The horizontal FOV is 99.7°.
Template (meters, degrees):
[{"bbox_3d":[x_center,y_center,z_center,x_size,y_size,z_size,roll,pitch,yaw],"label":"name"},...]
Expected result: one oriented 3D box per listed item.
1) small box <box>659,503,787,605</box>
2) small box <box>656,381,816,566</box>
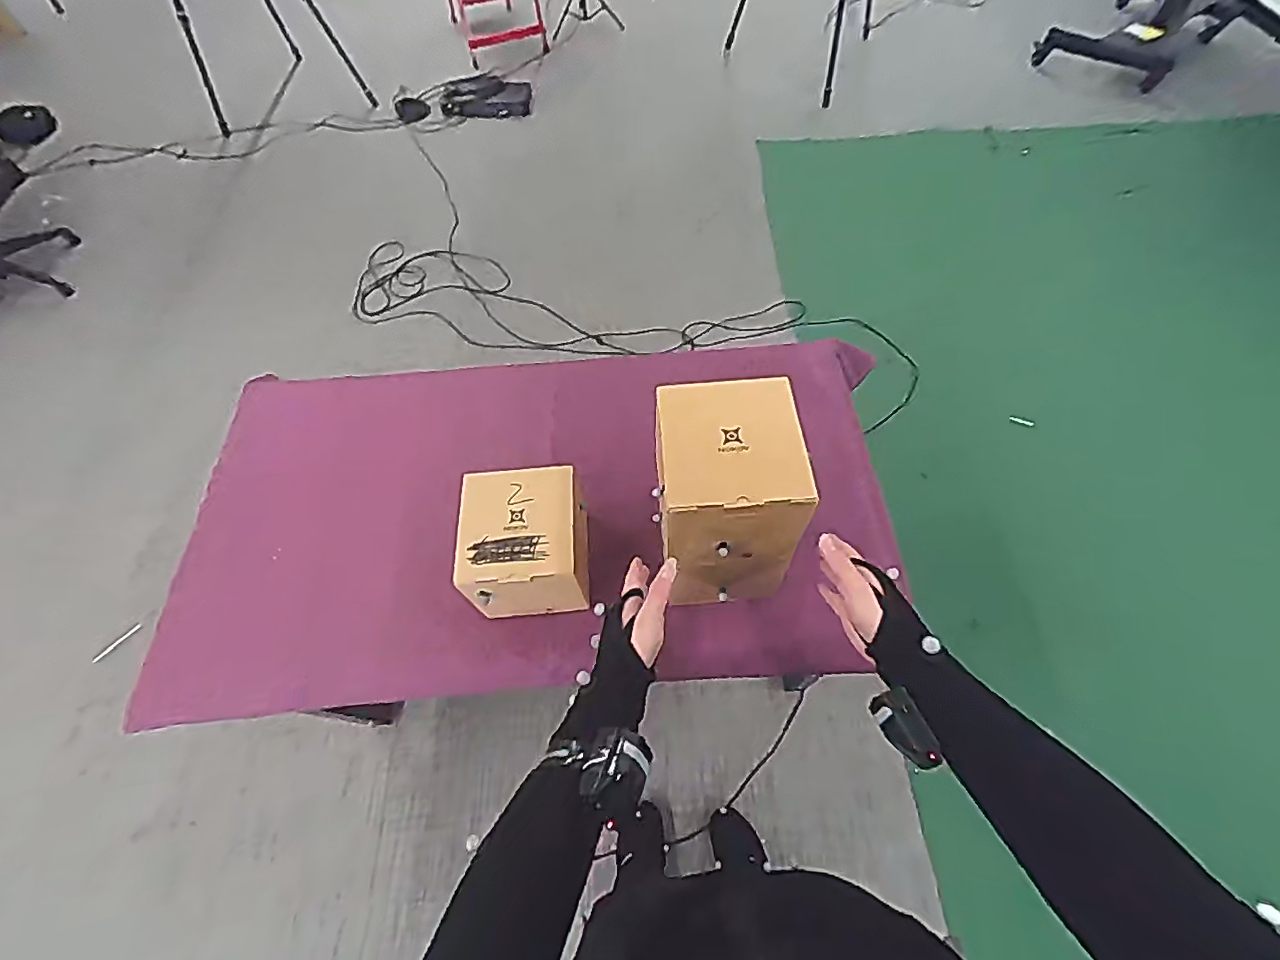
[{"bbox_3d":[0.115,0.079,0.836,0.168,0.176,0.179,-4,60,1],"label":"small box"},{"bbox_3d":[0.108,-0.004,0.696,0.168,0.176,0.179,-4,60,0],"label":"small box"}]
